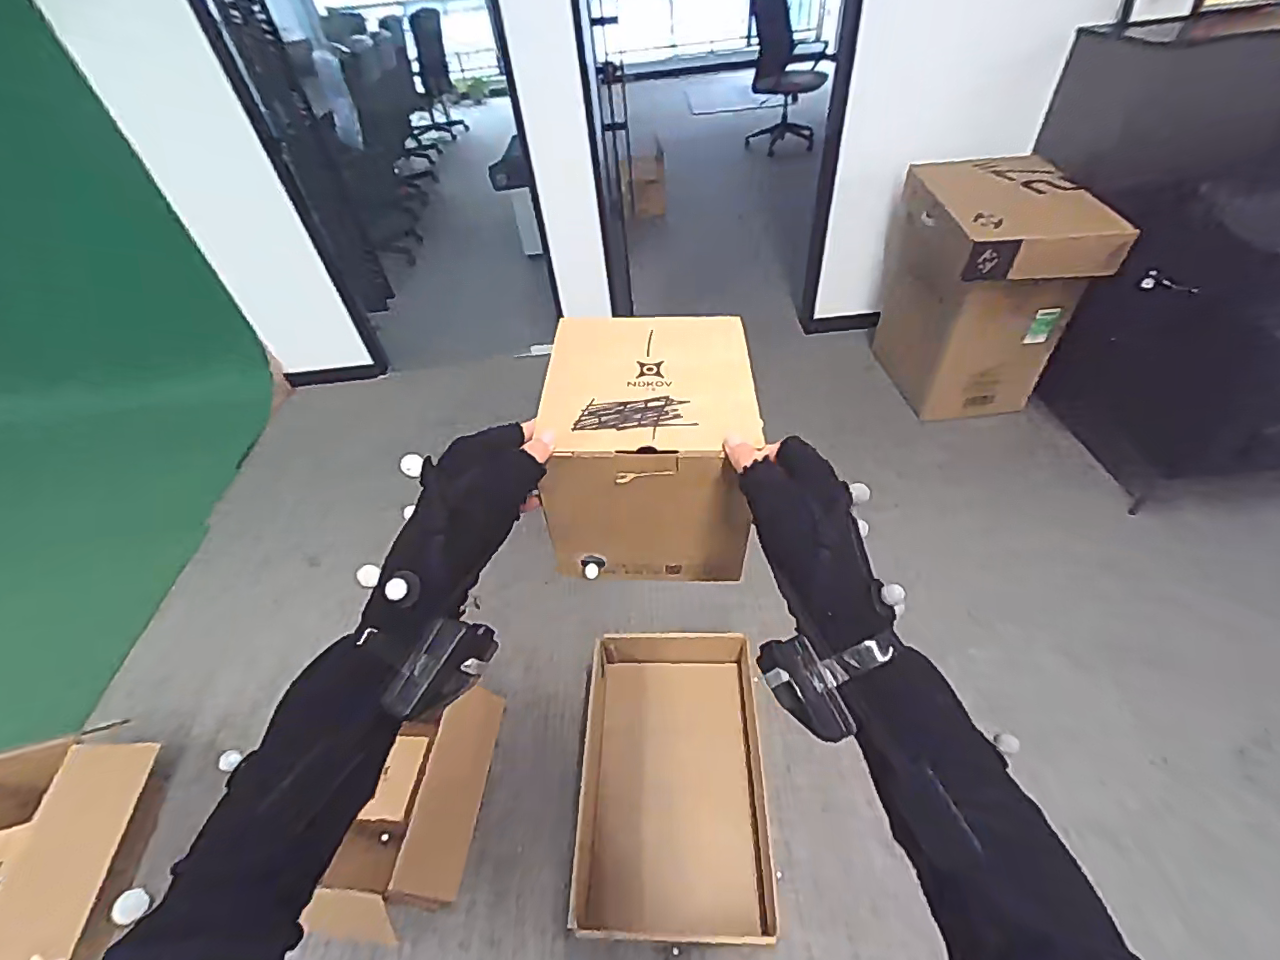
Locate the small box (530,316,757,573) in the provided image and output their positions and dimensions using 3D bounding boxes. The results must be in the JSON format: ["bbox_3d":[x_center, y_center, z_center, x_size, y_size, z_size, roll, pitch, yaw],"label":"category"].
[{"bbox_3d":[0.009,-0.030,0.494,0.168,0.176,0.179,1,47,2],"label":"small box"}]
